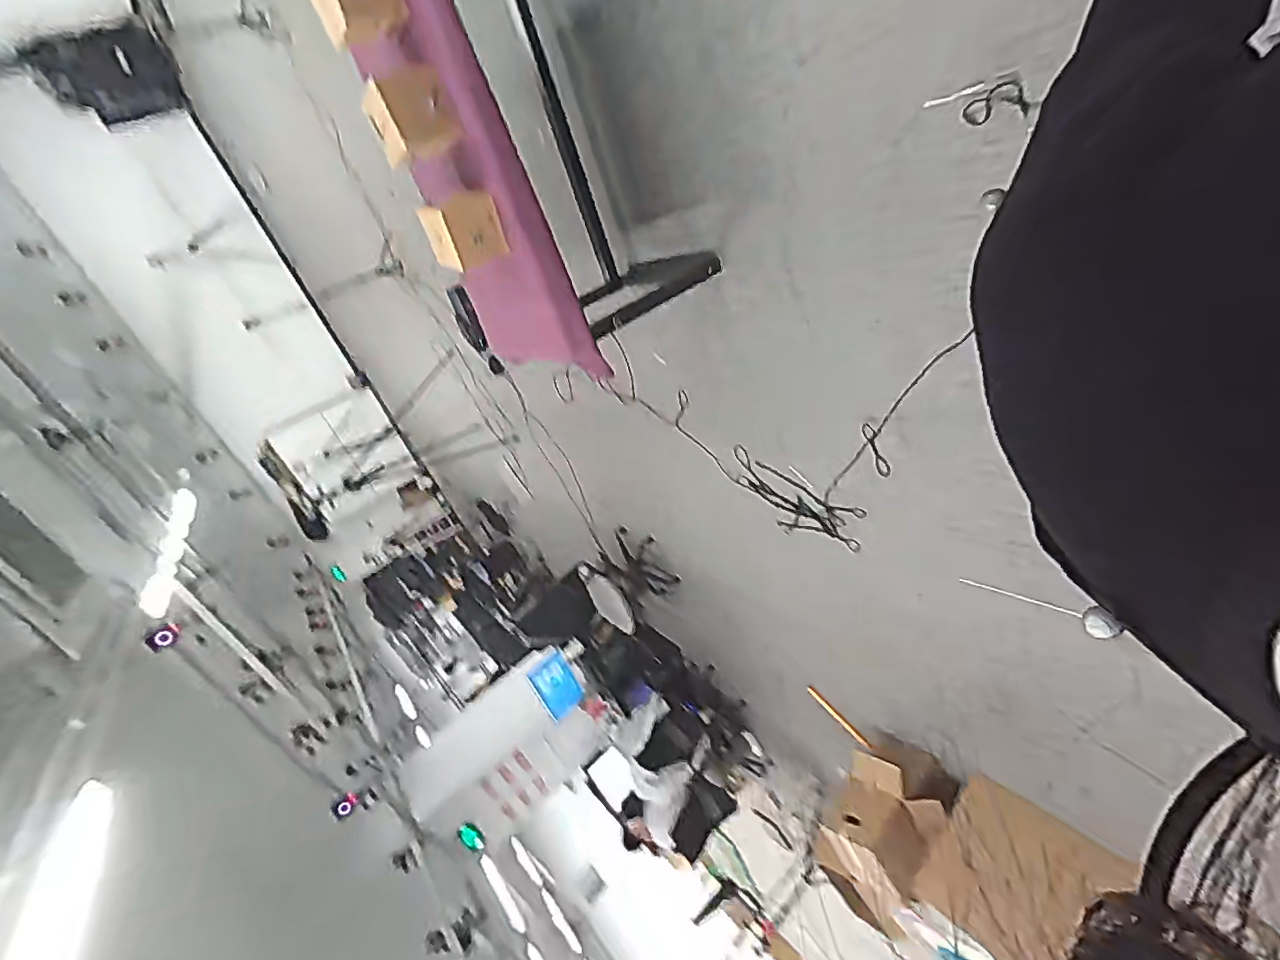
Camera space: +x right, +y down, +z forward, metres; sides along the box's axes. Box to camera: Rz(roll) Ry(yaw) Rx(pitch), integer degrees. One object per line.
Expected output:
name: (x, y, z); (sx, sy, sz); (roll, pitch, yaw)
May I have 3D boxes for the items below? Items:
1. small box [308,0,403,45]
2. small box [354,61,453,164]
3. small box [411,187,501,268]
small box: (-0.702, -1.195, 1.298); (0.168, 0.176, 0.179); (21, 140, 49)
small box: (-0.628, -0.980, 1.446); (0.179, 0.176, 0.168); (14, 135, 52)
small box: (-0.528, -0.742, 1.581); (0.179, 0.176, 0.168); (31, 147, 40)
